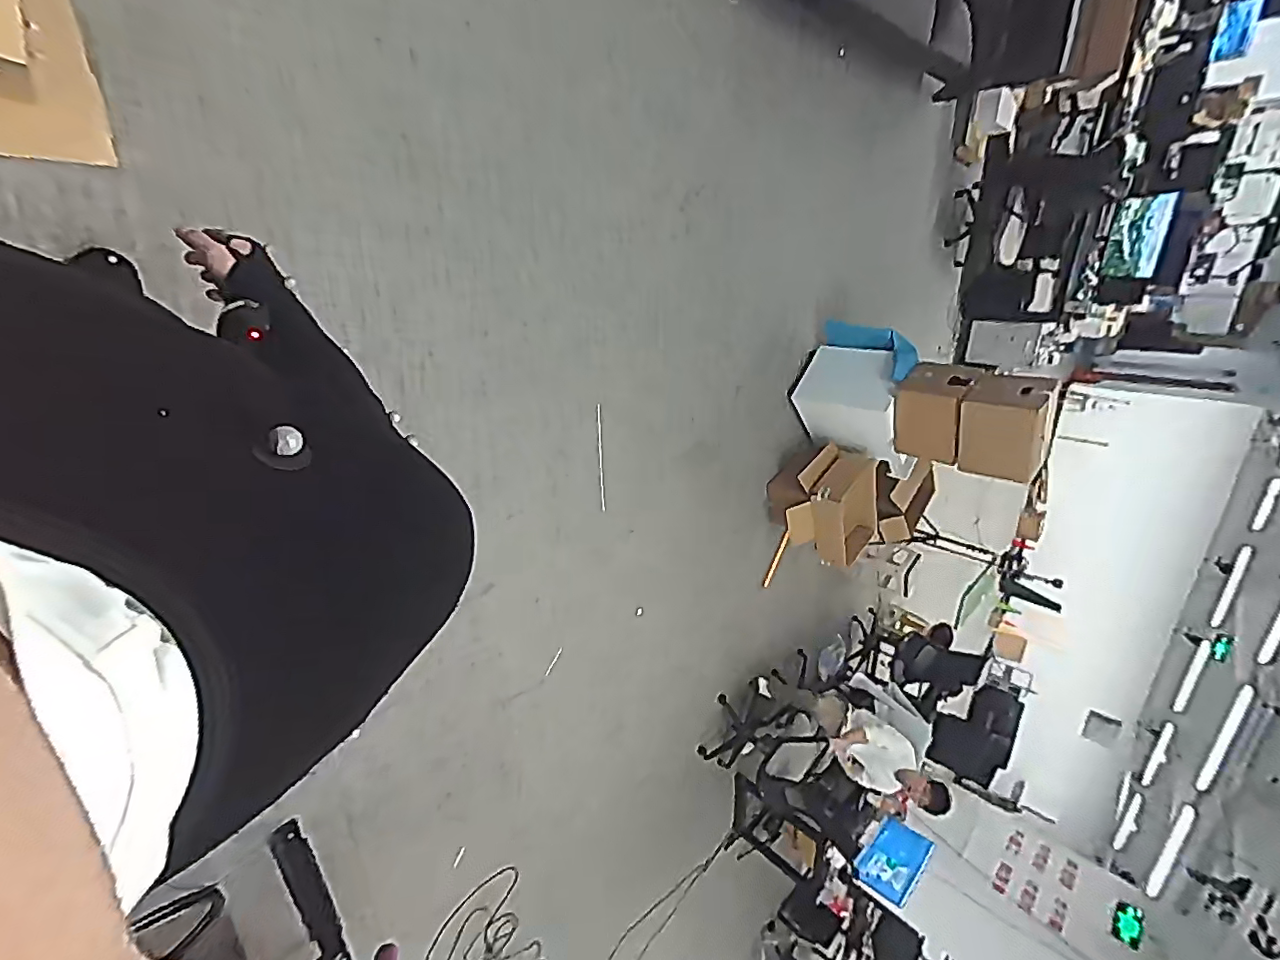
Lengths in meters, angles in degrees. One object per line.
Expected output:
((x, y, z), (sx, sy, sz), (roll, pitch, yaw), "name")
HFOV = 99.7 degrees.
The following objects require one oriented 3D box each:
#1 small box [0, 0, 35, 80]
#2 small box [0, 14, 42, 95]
((-1.015, -0.716, 0.782), (0.179, 0.176, 0.168), (-6, 109, -43), "small box")
((-1.130, -0.766, 0.891), (0.179, 0.176, 0.168), (-11, 113, -42), "small box")
